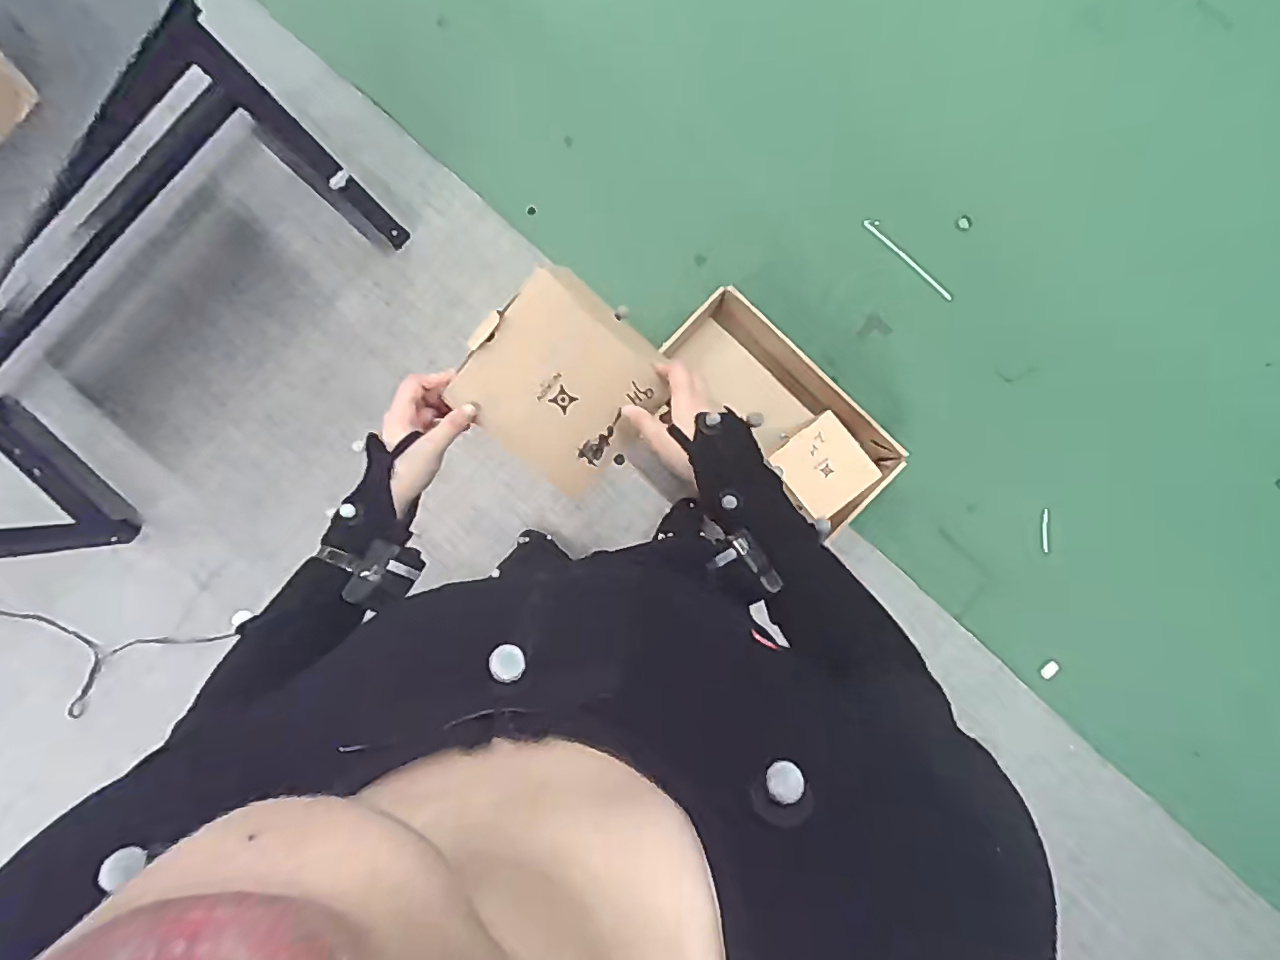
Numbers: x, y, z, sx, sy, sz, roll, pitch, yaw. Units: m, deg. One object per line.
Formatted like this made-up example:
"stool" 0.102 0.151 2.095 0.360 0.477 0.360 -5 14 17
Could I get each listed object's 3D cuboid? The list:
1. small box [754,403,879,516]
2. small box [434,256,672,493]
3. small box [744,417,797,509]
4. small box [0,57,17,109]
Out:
"small box" 0.373 -0.043 1.177 0.168 0.176 0.179 -39 89 1
"small box" -0.086 -0.122 0.600 0.179 0.176 0.168 39 107 -15
"small box" 0.380 -0.048 1.342 0.179 0.176 0.168 -39 89 3
"small box" -0.976 -0.551 0.676 0.179 0.176 0.168 -44 89 0
